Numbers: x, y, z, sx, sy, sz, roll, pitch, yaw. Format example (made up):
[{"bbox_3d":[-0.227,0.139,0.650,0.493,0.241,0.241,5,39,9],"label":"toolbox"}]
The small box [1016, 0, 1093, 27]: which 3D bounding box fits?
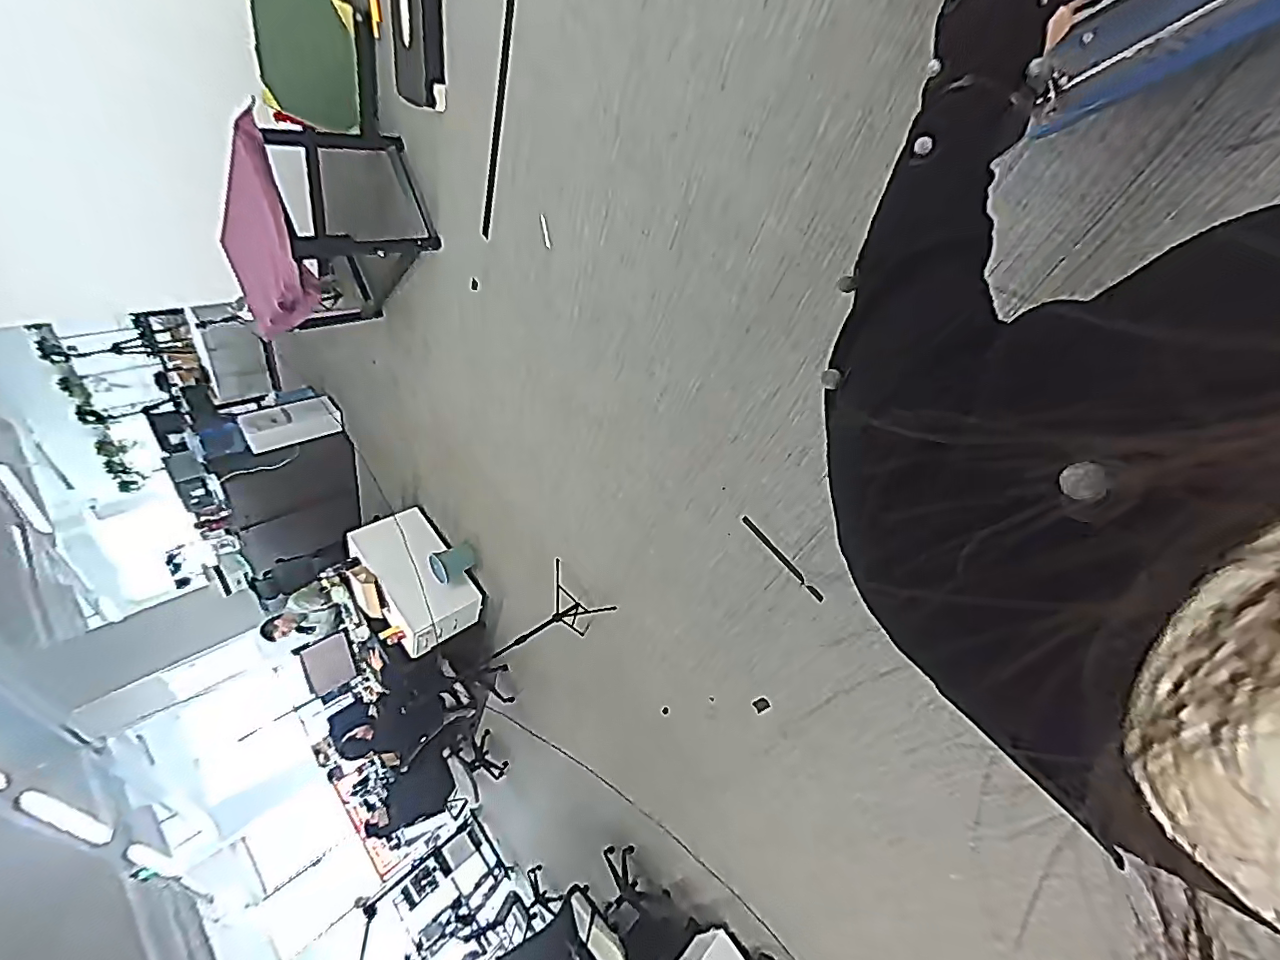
[{"bbox_3d":[0.647,-0.813,0.792,0.168,0.176,0.179,-16,98,49],"label":"small box"}]
